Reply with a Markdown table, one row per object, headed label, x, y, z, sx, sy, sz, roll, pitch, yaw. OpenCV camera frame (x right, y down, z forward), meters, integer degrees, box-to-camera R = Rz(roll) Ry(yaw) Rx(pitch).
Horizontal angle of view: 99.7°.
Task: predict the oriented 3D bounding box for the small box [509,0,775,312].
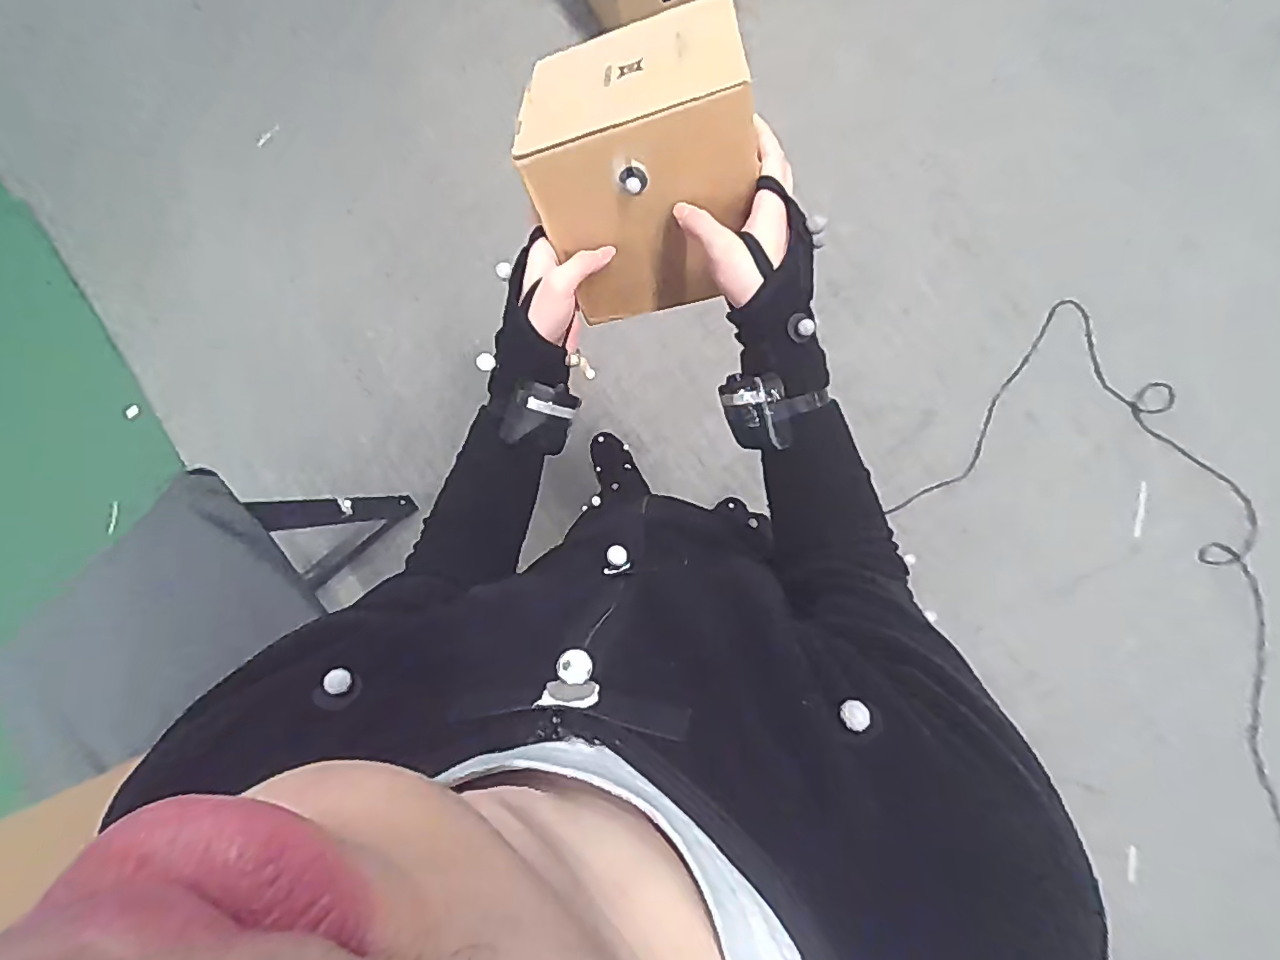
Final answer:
| label | x | y | z | sx | sy | sz | roll | pitch | yaw |
| --- | --- | --- | --- | --- | --- | --- | --- | --- | --- |
| small box | 0.013 | -0.269 | 0.463 | 0.179 | 0.176 | 0.168 | -9 | 56 | 12 |
